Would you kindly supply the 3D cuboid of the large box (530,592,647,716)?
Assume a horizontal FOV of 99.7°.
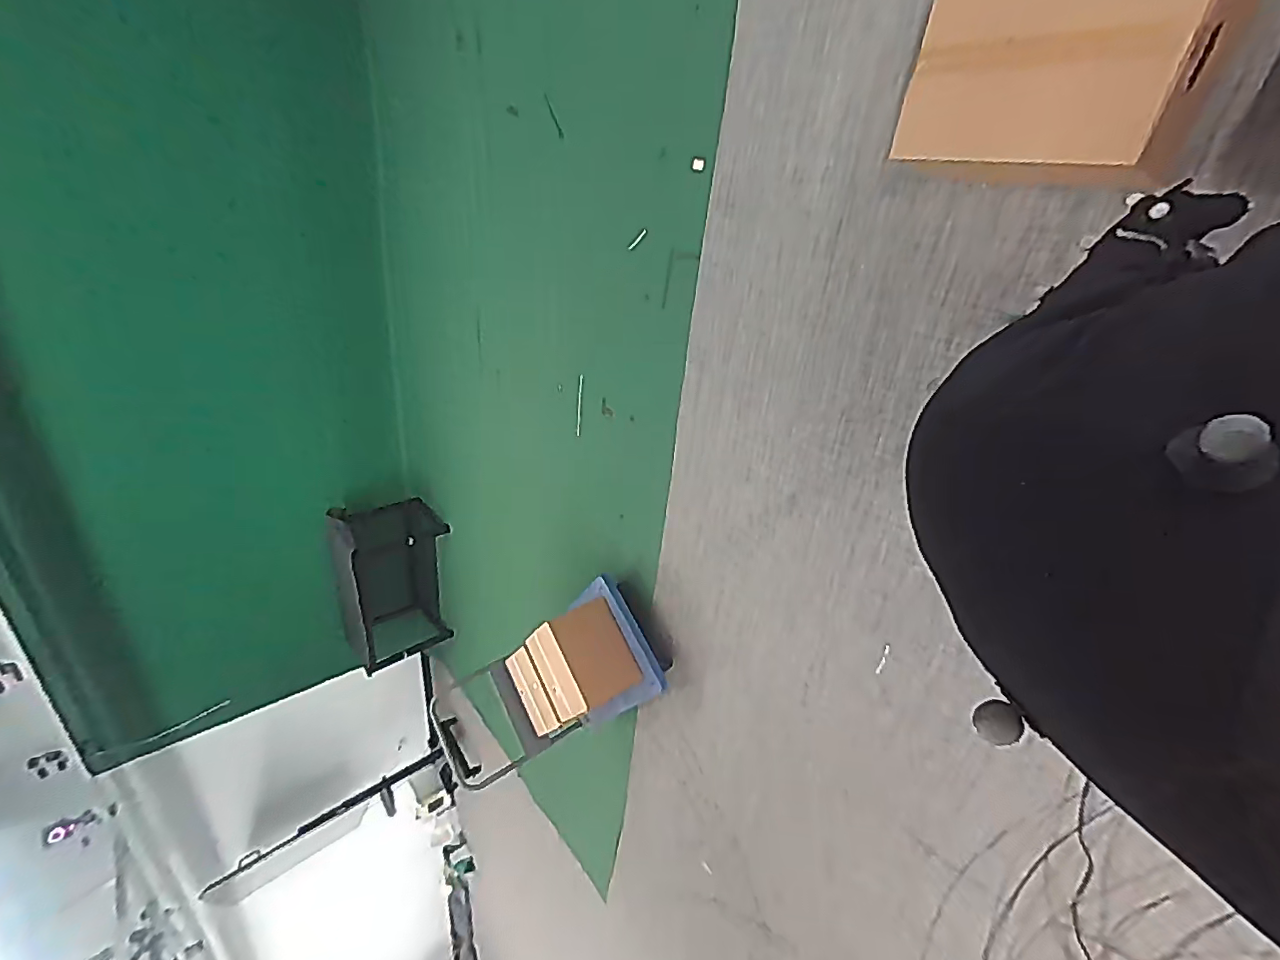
[{"bbox_3d":[-0.241,0.784,2.458,0.408,0.320,0.320,60,140,15],"label":"large box"}]
